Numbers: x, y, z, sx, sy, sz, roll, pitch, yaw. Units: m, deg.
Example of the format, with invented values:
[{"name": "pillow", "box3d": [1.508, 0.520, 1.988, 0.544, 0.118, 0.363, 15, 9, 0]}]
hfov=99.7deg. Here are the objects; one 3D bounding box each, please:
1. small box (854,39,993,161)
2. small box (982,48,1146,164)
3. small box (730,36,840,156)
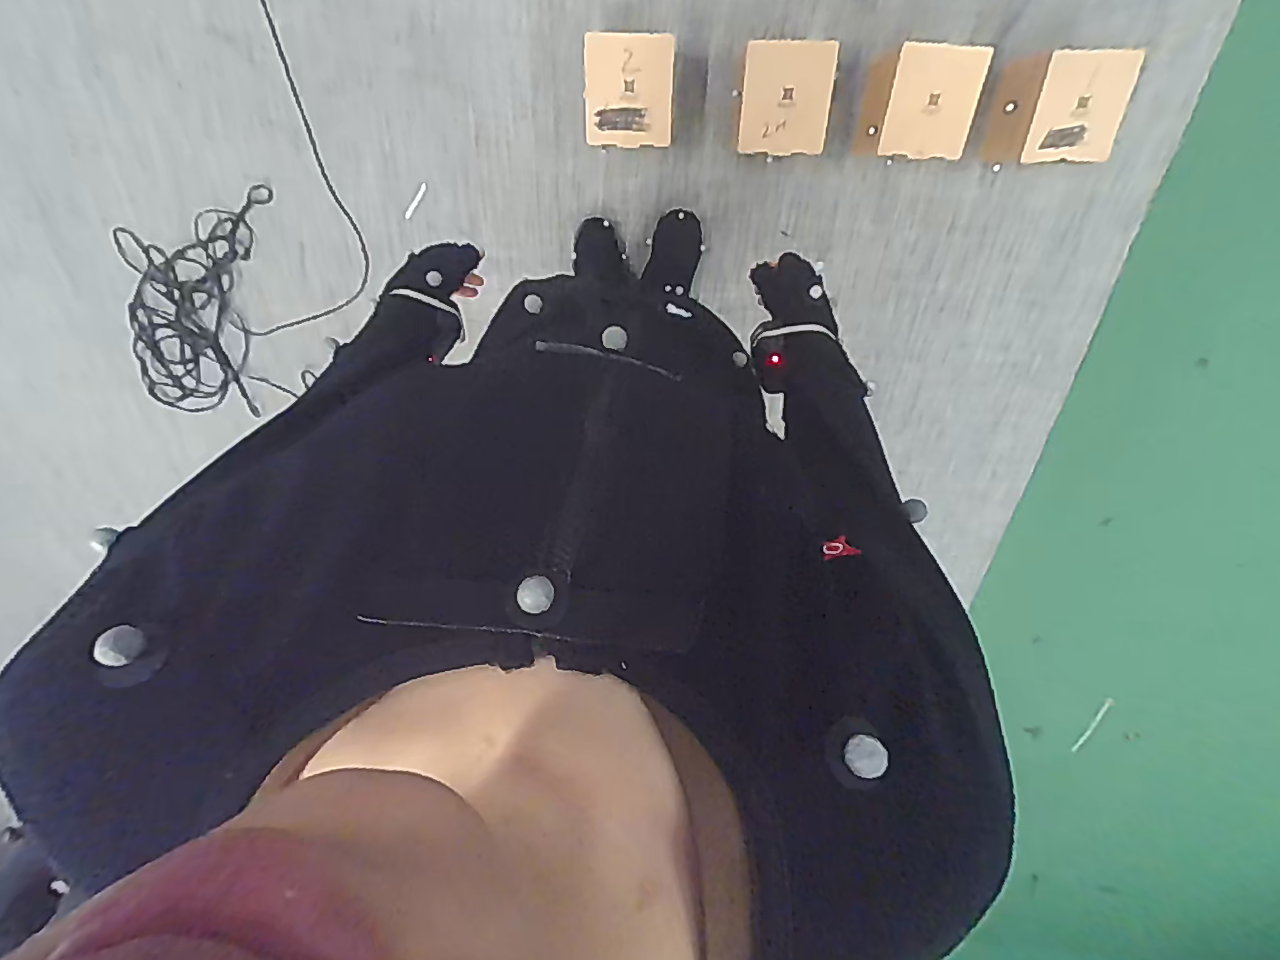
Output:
[{"name": "small box", "box3d": [0.541, -0.737, 1.065, 0.168, 0.176, 0.179, 3, 121, 0]}, {"name": "small box", "box3d": [0.810, -0.724, 1.061, 0.168, 0.176, 0.179, 1, 120, 2]}, {"name": "small box", "box3d": [0.273, -0.746, 1.066, 0.168, 0.176, 0.179, 3, 121, 2]}]
